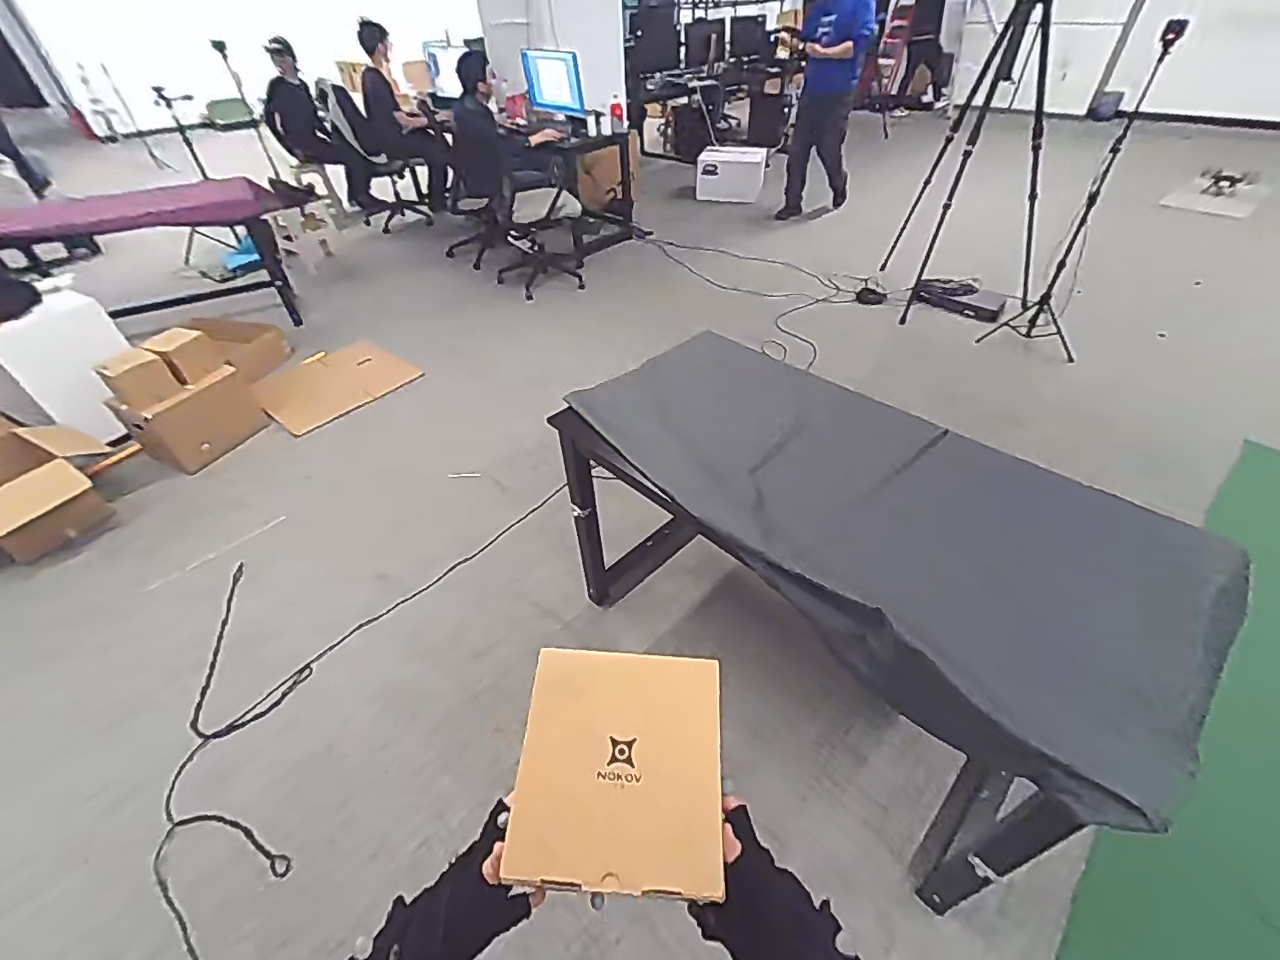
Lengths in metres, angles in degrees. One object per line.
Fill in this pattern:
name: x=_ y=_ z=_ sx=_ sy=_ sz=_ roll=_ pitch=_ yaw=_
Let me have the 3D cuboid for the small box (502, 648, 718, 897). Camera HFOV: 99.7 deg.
small box: x=-0.020 y=0.280 z=0.516 sx=0.168 sy=0.176 sz=0.179 roll=5 pitch=54 yaw=1
